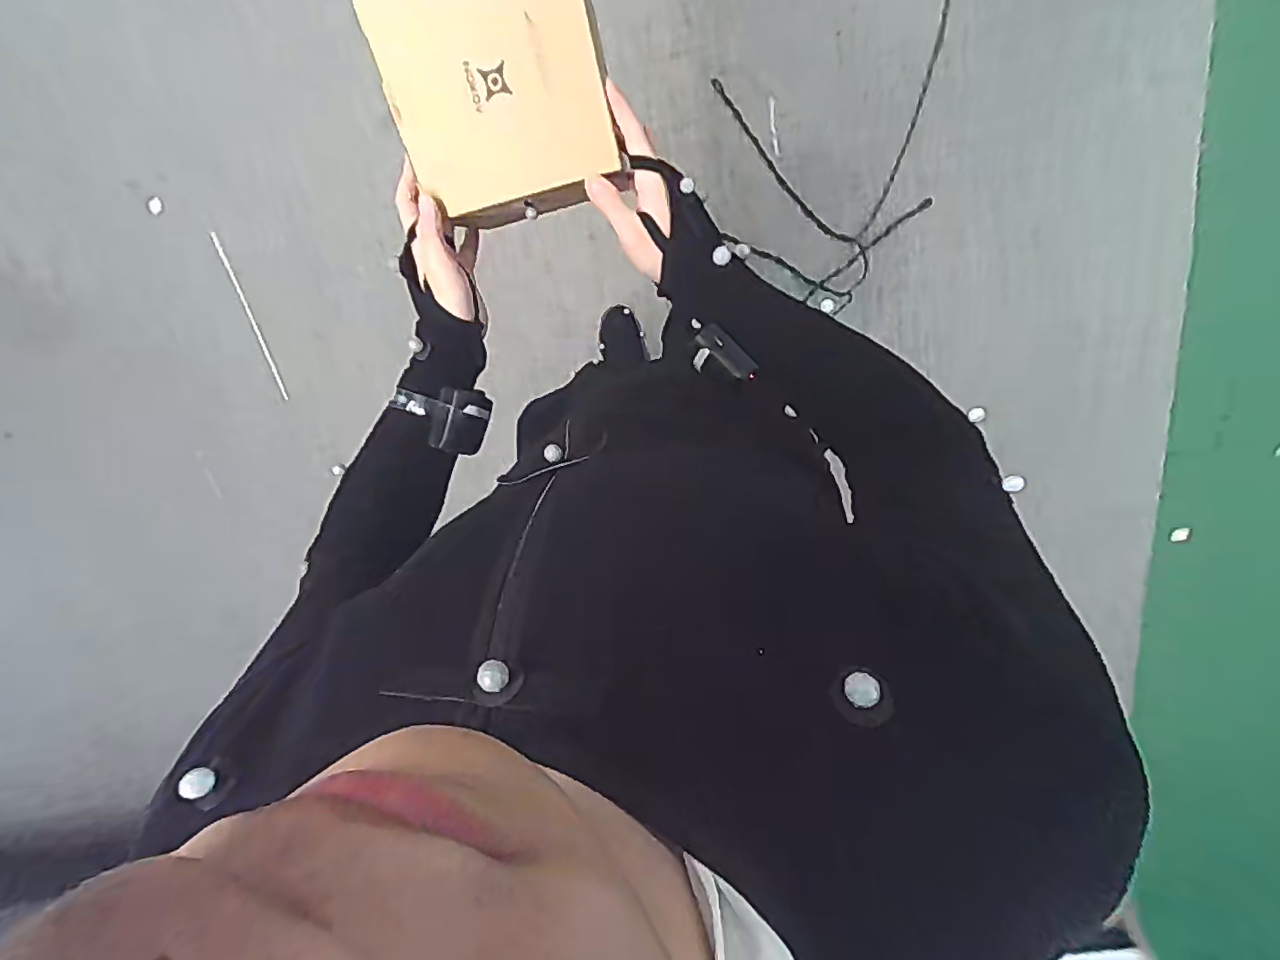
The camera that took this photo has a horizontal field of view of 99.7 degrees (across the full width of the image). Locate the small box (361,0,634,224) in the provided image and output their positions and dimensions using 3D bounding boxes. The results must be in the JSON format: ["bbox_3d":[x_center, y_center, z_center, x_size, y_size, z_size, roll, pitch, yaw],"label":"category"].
[{"bbox_3d":[-0.110,-0.346,0.501,0.179,0.176,0.168,-10,112,7],"label":"small box"}]
